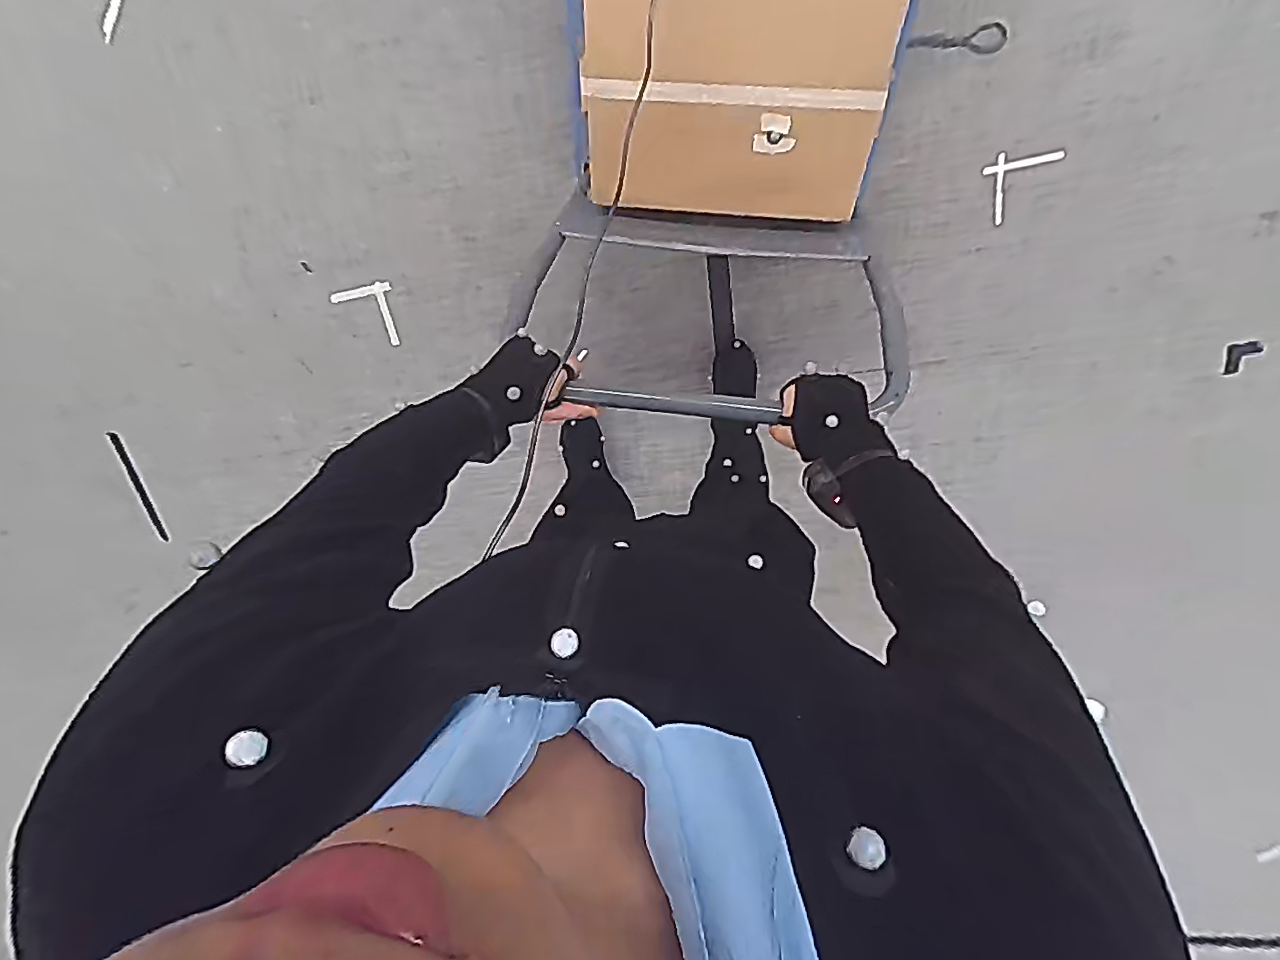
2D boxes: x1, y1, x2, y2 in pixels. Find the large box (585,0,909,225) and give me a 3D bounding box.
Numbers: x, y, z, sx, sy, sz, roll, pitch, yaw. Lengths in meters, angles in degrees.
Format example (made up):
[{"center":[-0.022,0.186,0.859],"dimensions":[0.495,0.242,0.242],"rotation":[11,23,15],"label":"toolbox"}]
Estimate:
[{"center":[0.143,-0.619,0.847],"dimensions":[0.408,0.320,0.320],"rotation":[6,134,4],"label":"large box"}]
